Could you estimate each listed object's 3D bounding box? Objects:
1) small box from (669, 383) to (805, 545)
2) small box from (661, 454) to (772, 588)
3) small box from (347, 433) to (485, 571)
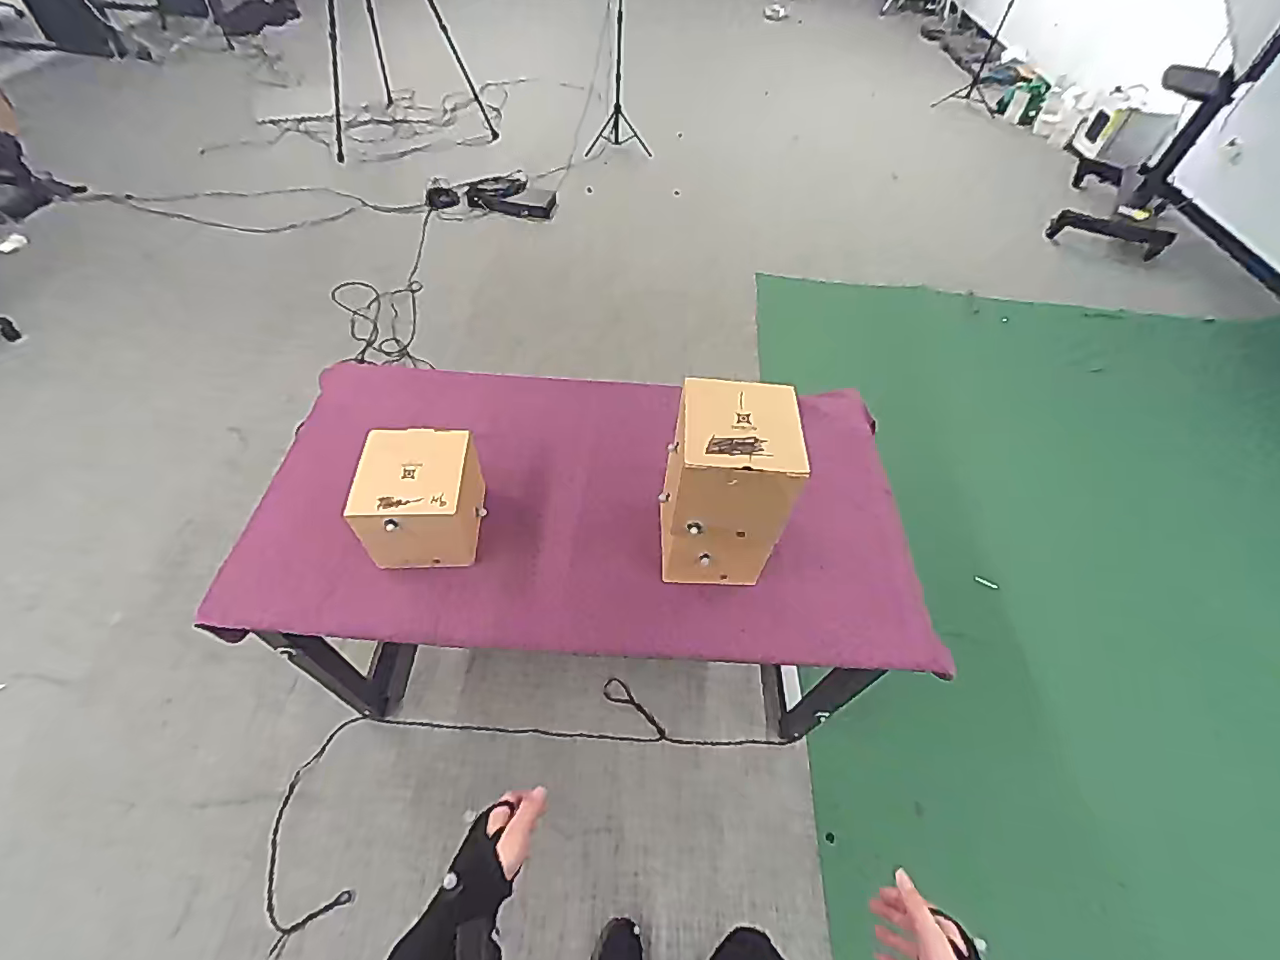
[{"bbox_3d":[0.135,-0.020,0.808,0.168,0.176,0.179,5,50,0],"label":"small box"},{"bbox_3d":[0.127,0.075,0.943,0.168,0.176,0.179,2,51,-2],"label":"small box"},{"bbox_3d":[-0.370,0.039,0.931,0.168,0.176,0.179,-1,52,-4],"label":"small box"}]
